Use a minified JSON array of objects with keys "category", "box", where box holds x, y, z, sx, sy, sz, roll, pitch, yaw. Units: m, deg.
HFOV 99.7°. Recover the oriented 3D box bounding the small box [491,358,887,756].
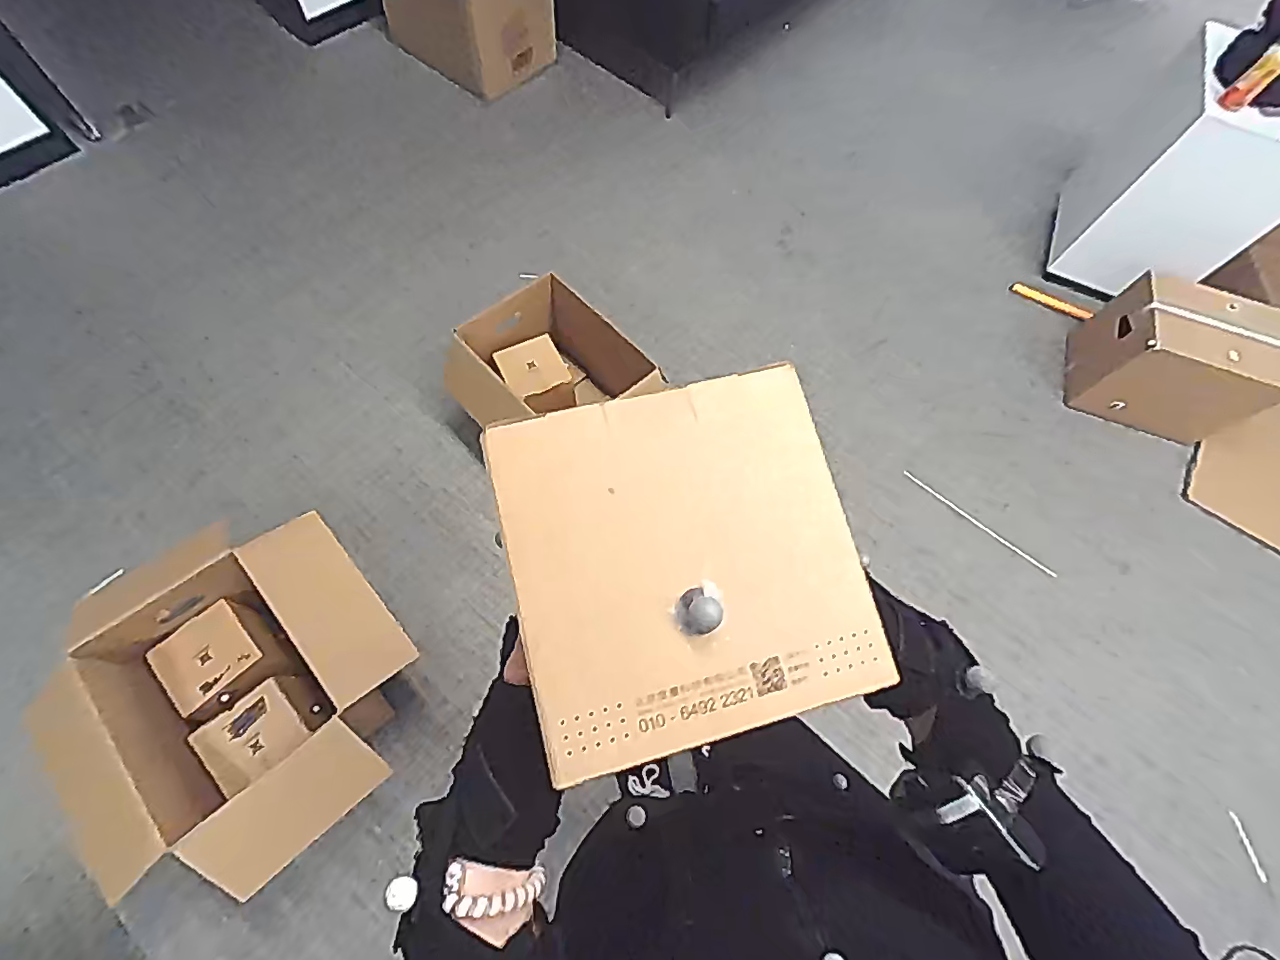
[{"category":"small box","box":[0.016,0.049,0.338,0.168,0.179,0.176,-13,79,-9]}]
